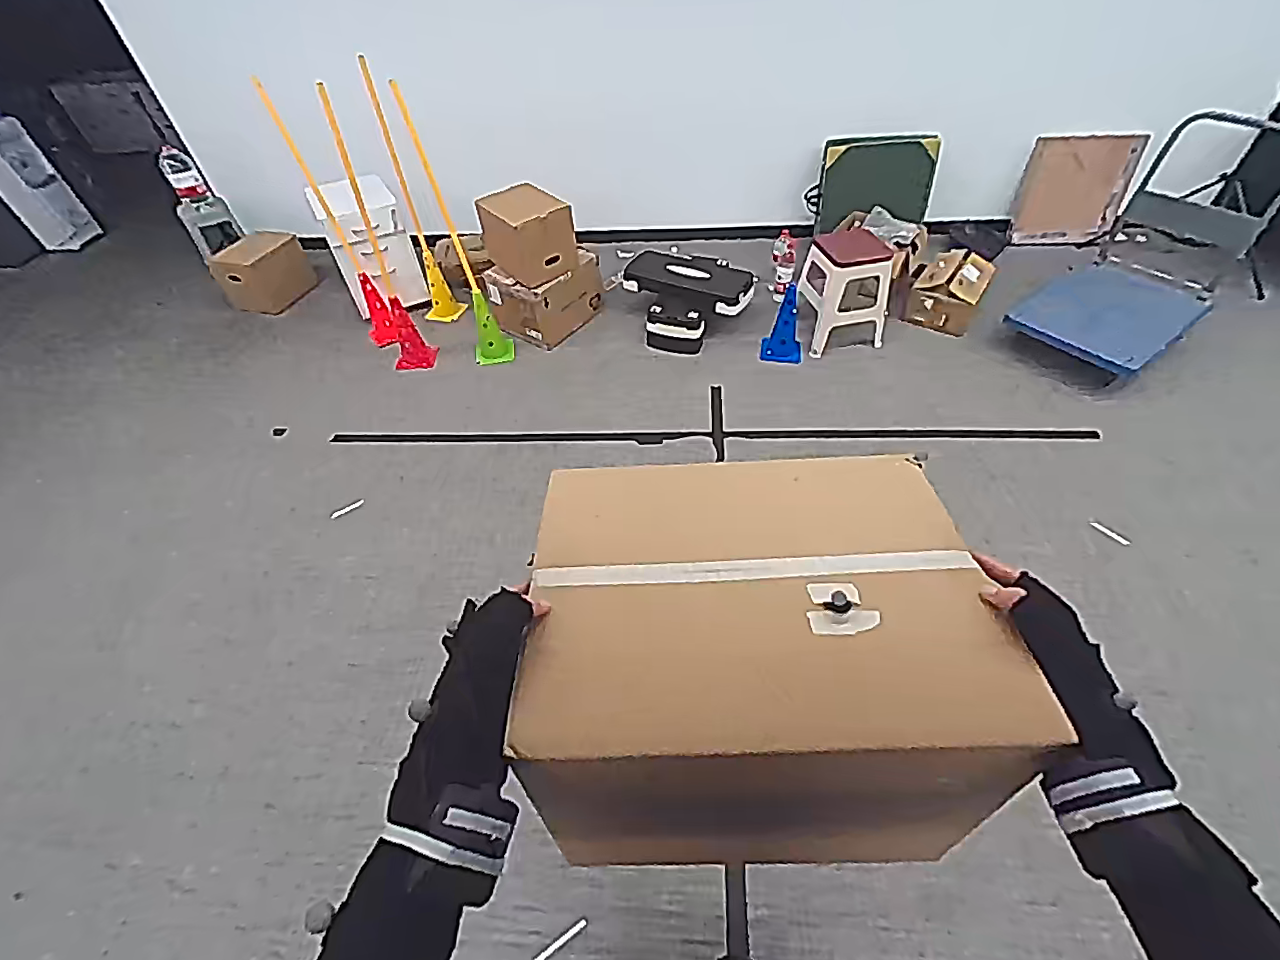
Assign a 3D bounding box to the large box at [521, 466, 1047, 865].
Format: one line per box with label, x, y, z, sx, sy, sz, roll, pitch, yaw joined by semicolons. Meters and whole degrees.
large box;0.110;0.206;0.610;0.408;0.320;0.320;-2;43;2
